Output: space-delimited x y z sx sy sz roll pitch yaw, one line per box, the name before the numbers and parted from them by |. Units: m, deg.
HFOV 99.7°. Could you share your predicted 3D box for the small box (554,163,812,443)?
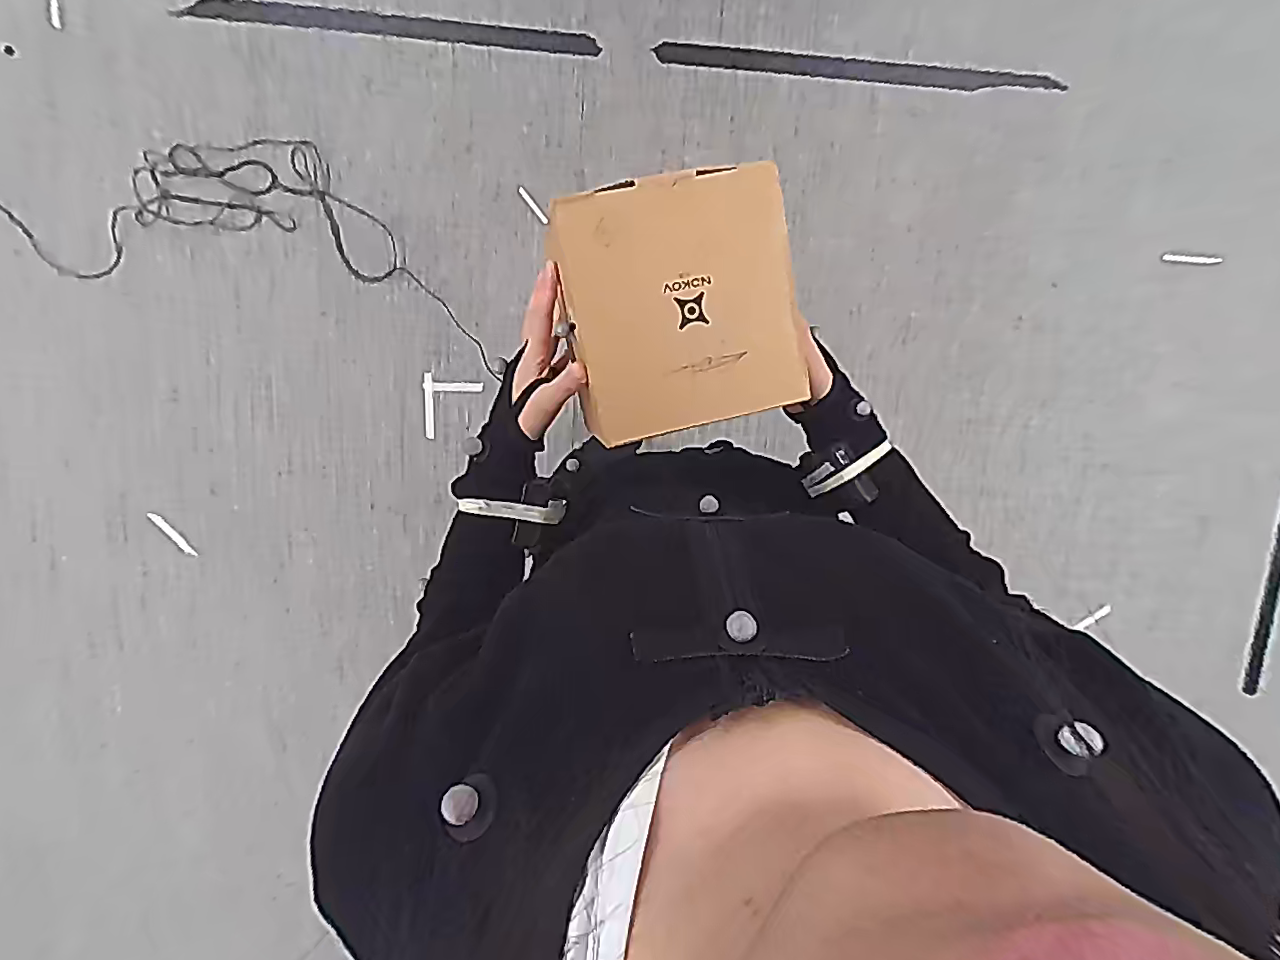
small box | 0.024 -0.139 0.466 0.168 0.176 0.179 -13 102 -8
